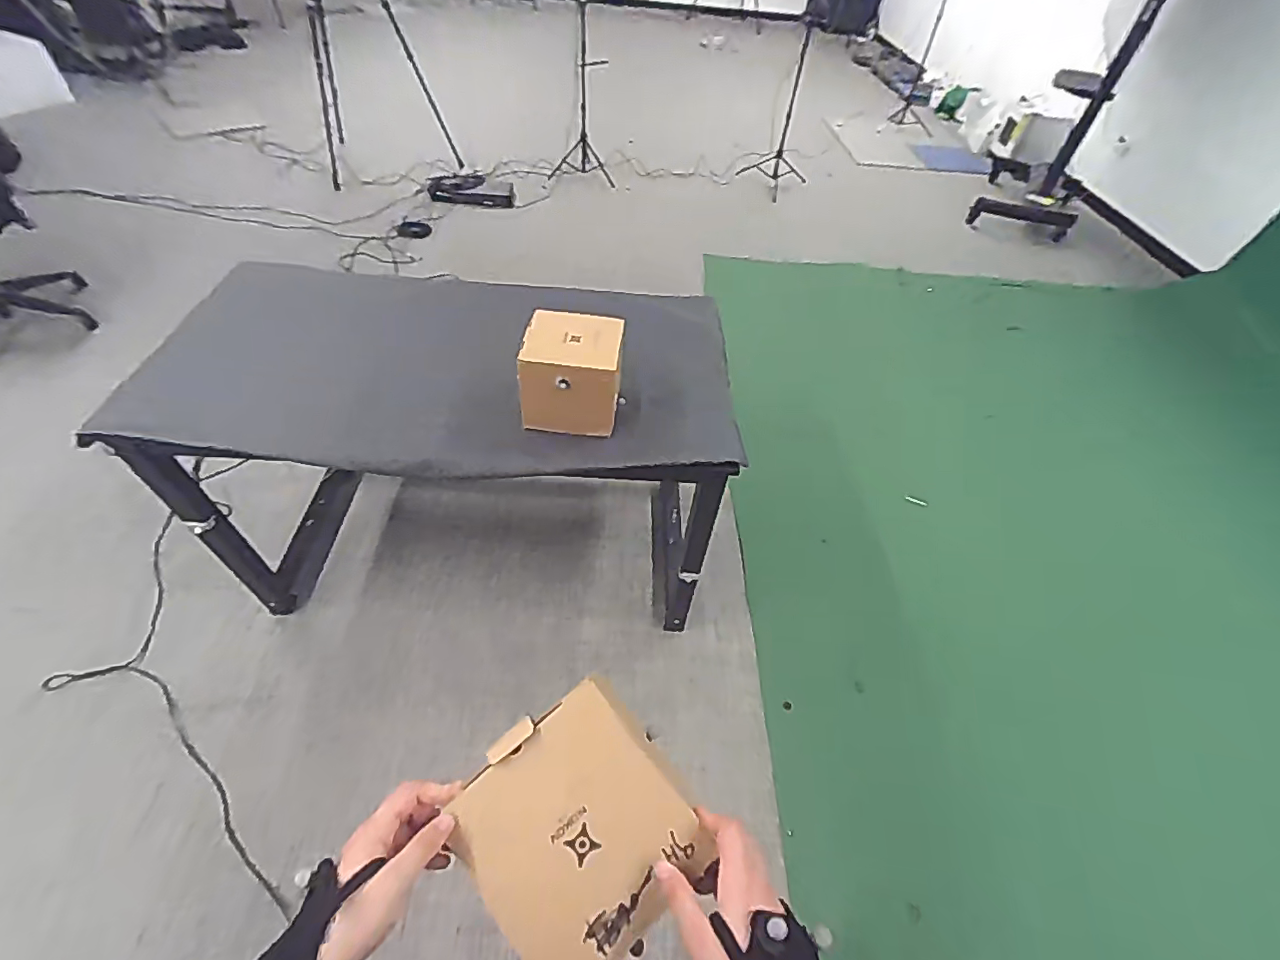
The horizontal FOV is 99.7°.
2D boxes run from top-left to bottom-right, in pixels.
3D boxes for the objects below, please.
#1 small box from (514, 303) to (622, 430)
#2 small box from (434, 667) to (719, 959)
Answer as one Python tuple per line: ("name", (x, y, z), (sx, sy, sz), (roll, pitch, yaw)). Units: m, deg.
("small box", (-0.134, -0.216, 1.043), (0.179, 0.176, 0.168), (7, 49, -2))
("small box", (-0.055, 0.300, 0.510), (0.168, 0.176, 0.179), (-38, 78, -13))
